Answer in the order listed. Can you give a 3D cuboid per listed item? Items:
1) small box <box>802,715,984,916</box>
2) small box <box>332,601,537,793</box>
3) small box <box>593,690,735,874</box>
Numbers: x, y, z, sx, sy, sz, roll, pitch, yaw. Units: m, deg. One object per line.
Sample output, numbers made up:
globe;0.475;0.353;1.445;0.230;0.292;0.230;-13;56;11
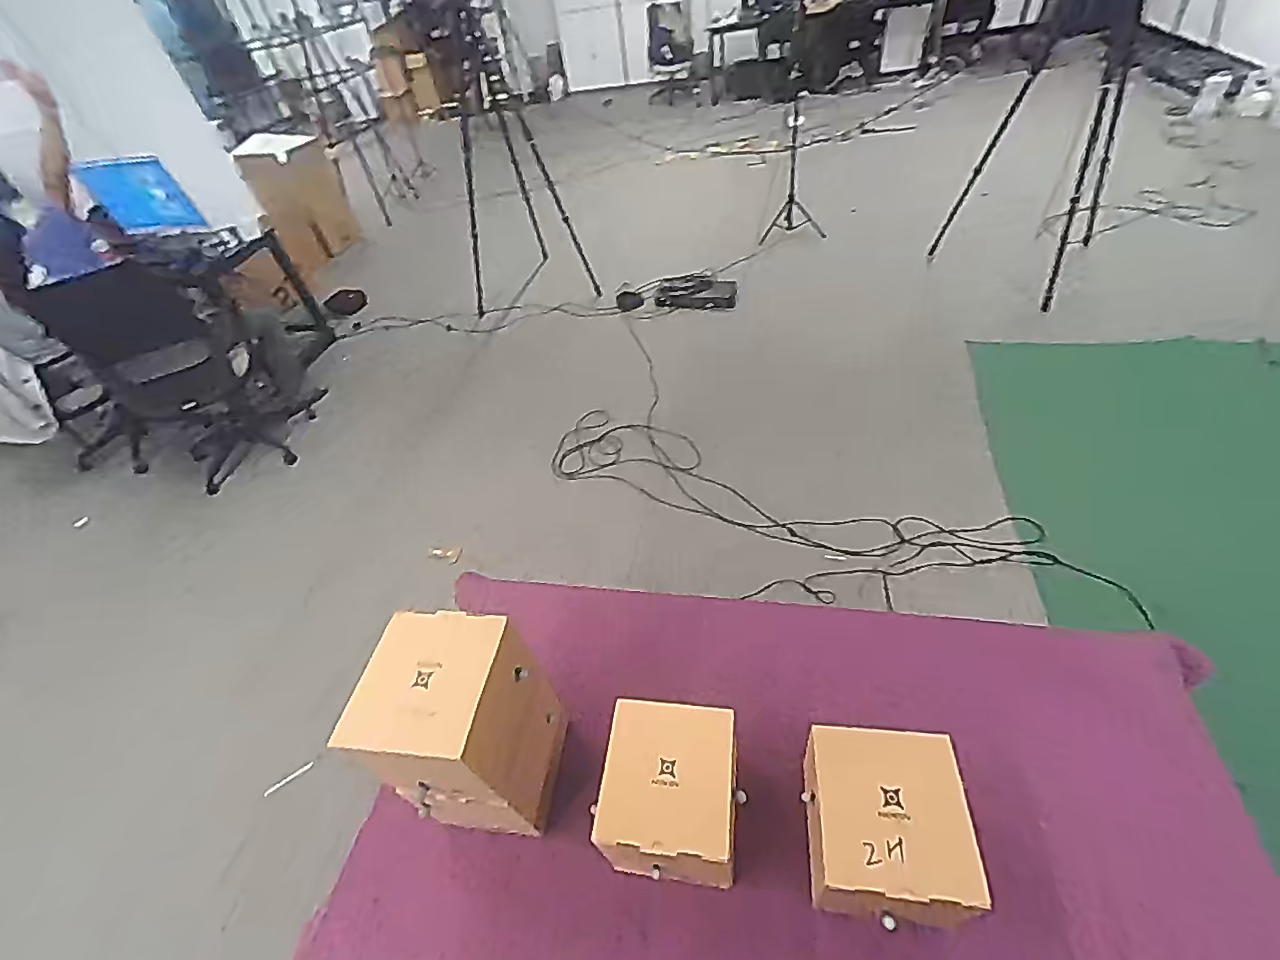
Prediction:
small box;0.302;0.427;0.692;0.168;0.176;0.179;0;47;11
small box;-0.247;0.281;0.706;0.168;0.176;0.179;1;46;11
small box;0.044;0.419;0.752;0.168;0.176;0.179;1;47;12
